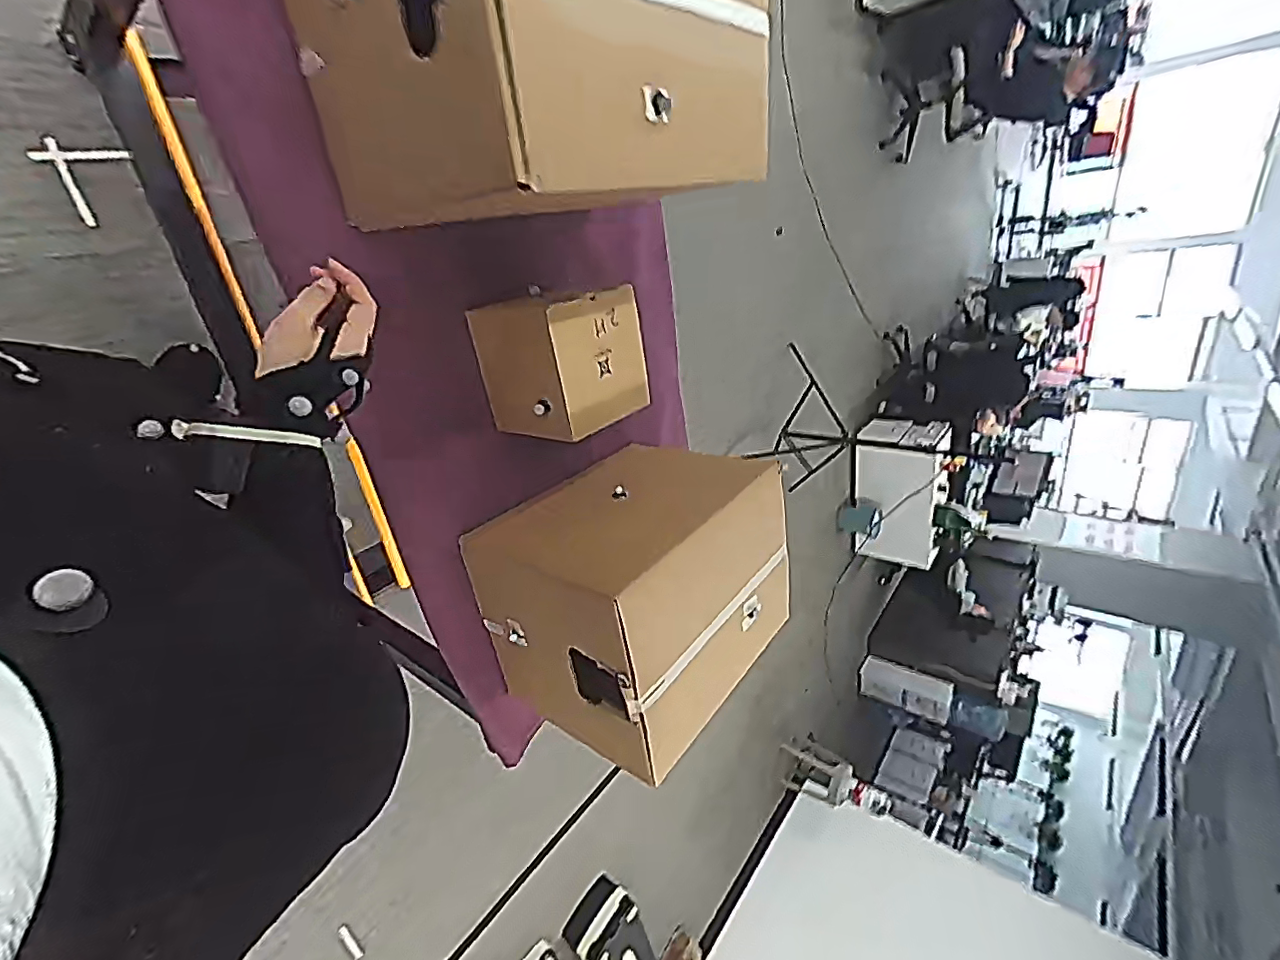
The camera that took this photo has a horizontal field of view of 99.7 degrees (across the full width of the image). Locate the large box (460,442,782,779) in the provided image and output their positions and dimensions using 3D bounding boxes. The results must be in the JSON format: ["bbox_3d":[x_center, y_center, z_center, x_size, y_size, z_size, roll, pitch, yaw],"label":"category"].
[{"bbox_3d":[-0.004,0.160,0.874,0.408,0.320,0.320,-34,124,-43],"label":"large box"}]
